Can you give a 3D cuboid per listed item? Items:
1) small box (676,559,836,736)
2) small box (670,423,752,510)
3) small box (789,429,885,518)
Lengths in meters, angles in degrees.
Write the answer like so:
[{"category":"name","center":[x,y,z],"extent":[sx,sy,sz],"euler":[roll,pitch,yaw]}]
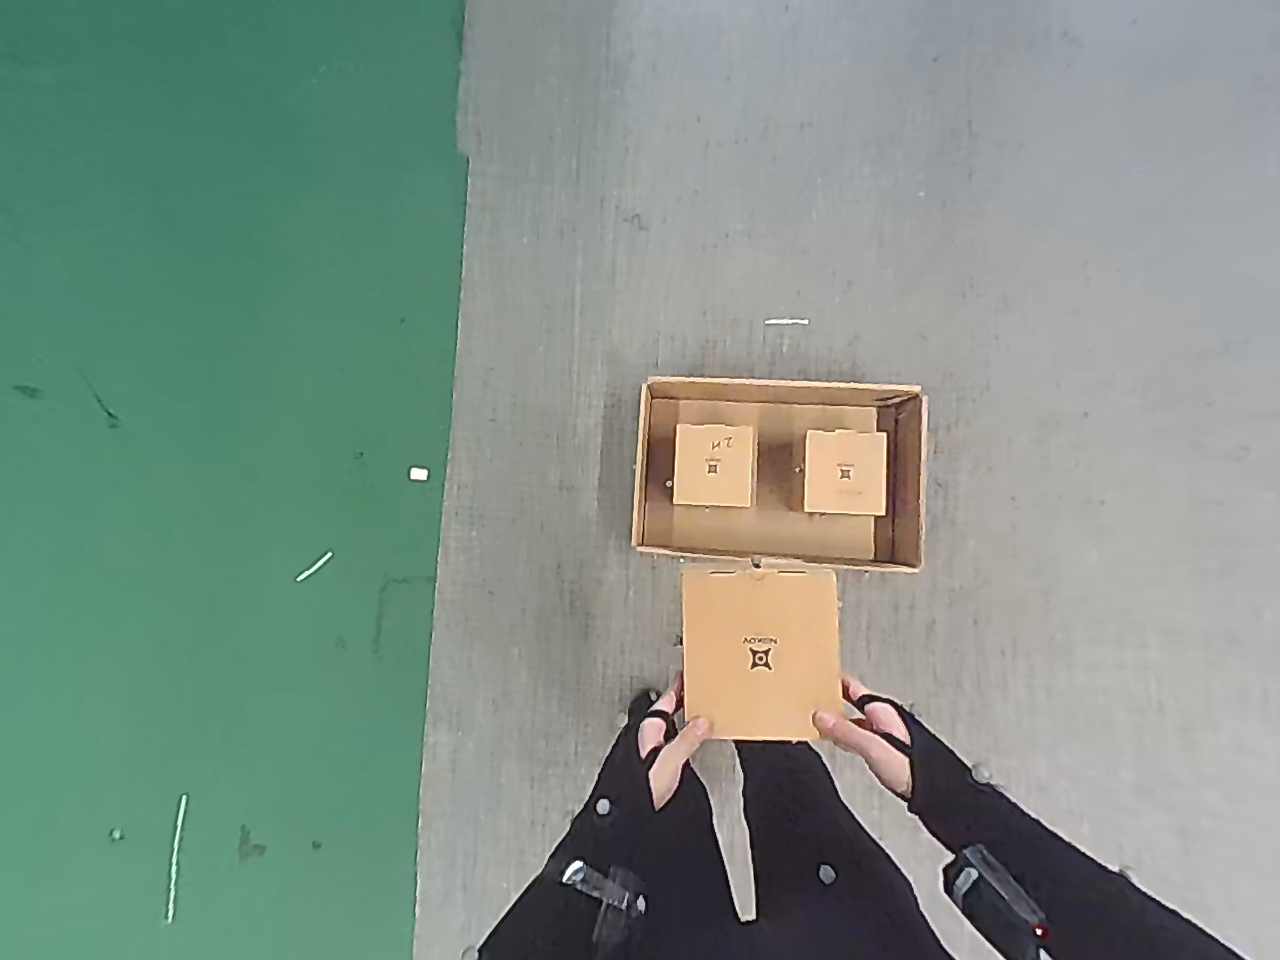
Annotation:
[{"category":"small box","center":[0.130,0.187,0.652],"extent":[0.168,0.176,0.179],"euler":[-2,83,5]},{"category":"small box","center":[0.158,-0.024,1.230],"extent":[0.168,0.176,0.179],"euler":[3,84,5]},{"category":"small box","center":[0.431,-0.009,1.205],"extent":[0.168,0.176,0.179],"euler":[3,86,7]}]
